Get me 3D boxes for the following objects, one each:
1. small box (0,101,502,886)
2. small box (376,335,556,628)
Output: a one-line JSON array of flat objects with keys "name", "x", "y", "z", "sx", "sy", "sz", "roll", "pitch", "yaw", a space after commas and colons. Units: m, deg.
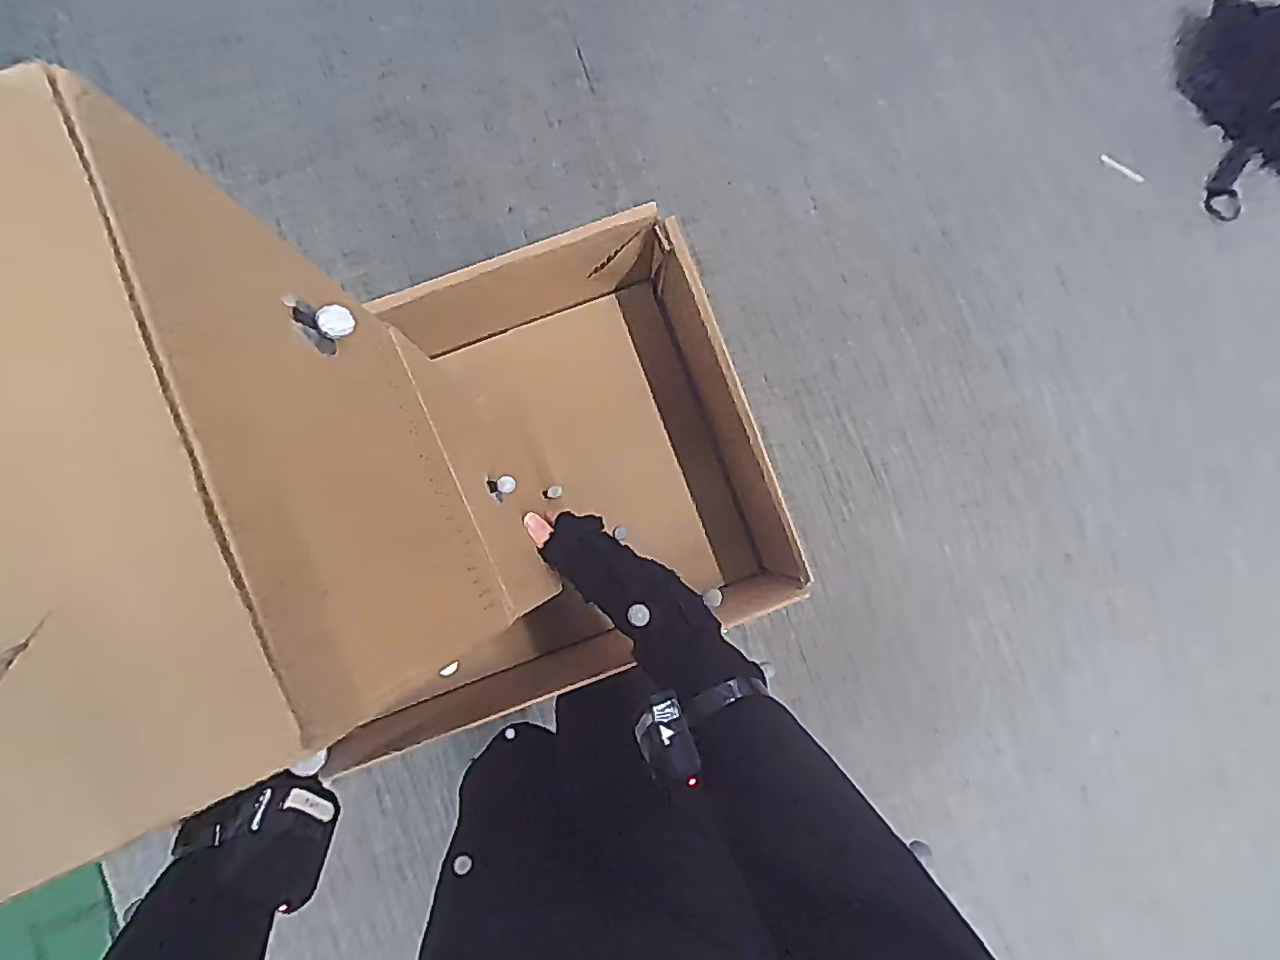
[{"name": "small box", "x": -0.176, "y": 0.021, "z": 0.206, "sx": 0.168, "sy": 0.176, "sz": 0.179, "roll": -25, "pitch": 84, "yaw": -1}, {"name": "small box", "x": -0.173, "y": 0.037, "z": 0.368, "sx": 0.168, "sy": 0.176, "sz": 0.179, "roll": -25, "pitch": 85, "yaw": -2}]
